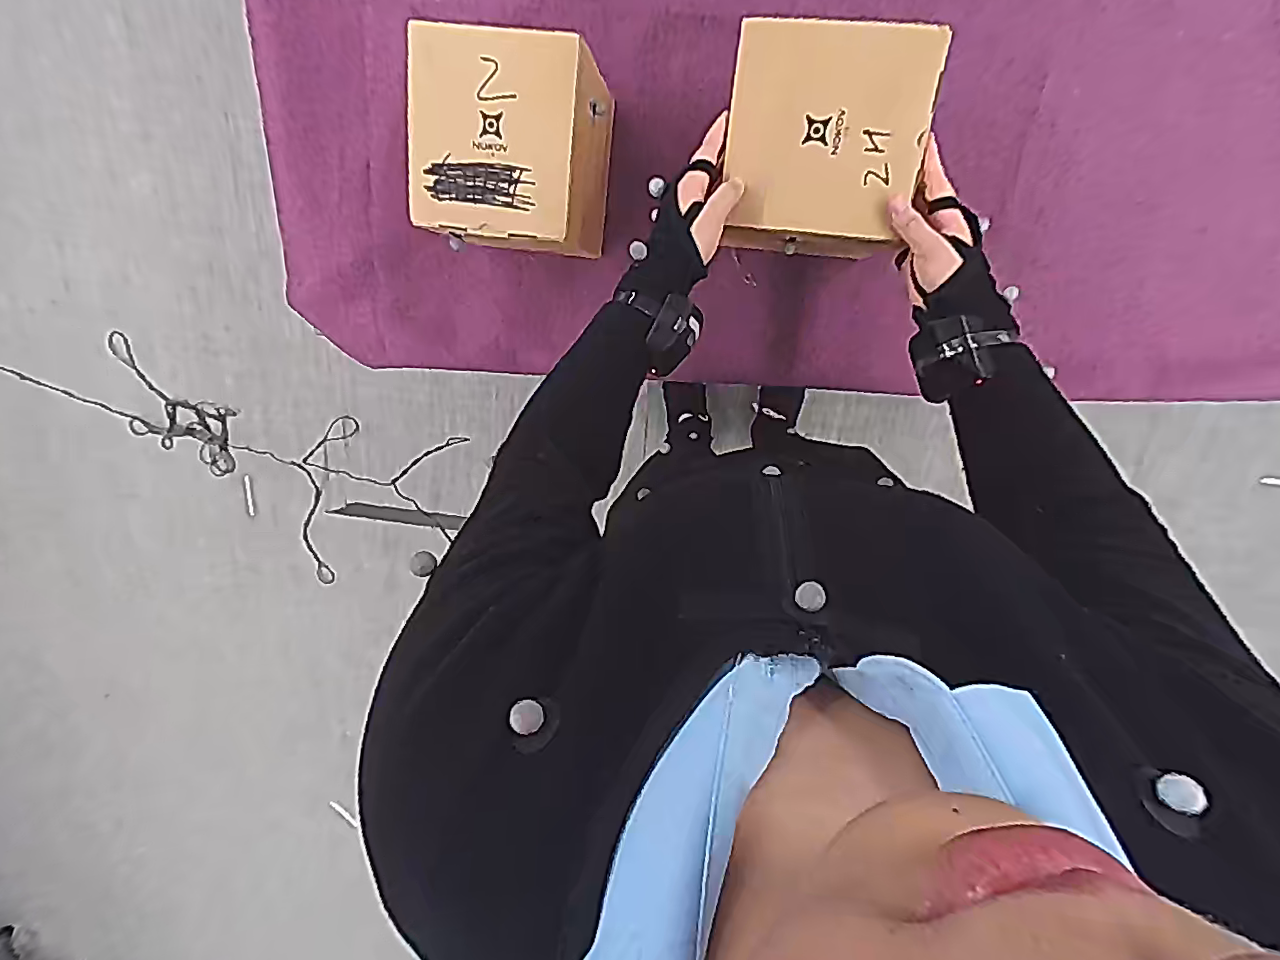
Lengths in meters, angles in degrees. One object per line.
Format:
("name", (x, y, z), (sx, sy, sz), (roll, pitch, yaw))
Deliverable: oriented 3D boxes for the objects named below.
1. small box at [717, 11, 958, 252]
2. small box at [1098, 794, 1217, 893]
("small box", (0.179, -0.333, 0.551), (0.179, 0.176, 0.168), (9, 109, 6))
("small box", (1.479, 1.042, 1.561), (0.179, 0.176, 0.168), (0, 107, 8))
